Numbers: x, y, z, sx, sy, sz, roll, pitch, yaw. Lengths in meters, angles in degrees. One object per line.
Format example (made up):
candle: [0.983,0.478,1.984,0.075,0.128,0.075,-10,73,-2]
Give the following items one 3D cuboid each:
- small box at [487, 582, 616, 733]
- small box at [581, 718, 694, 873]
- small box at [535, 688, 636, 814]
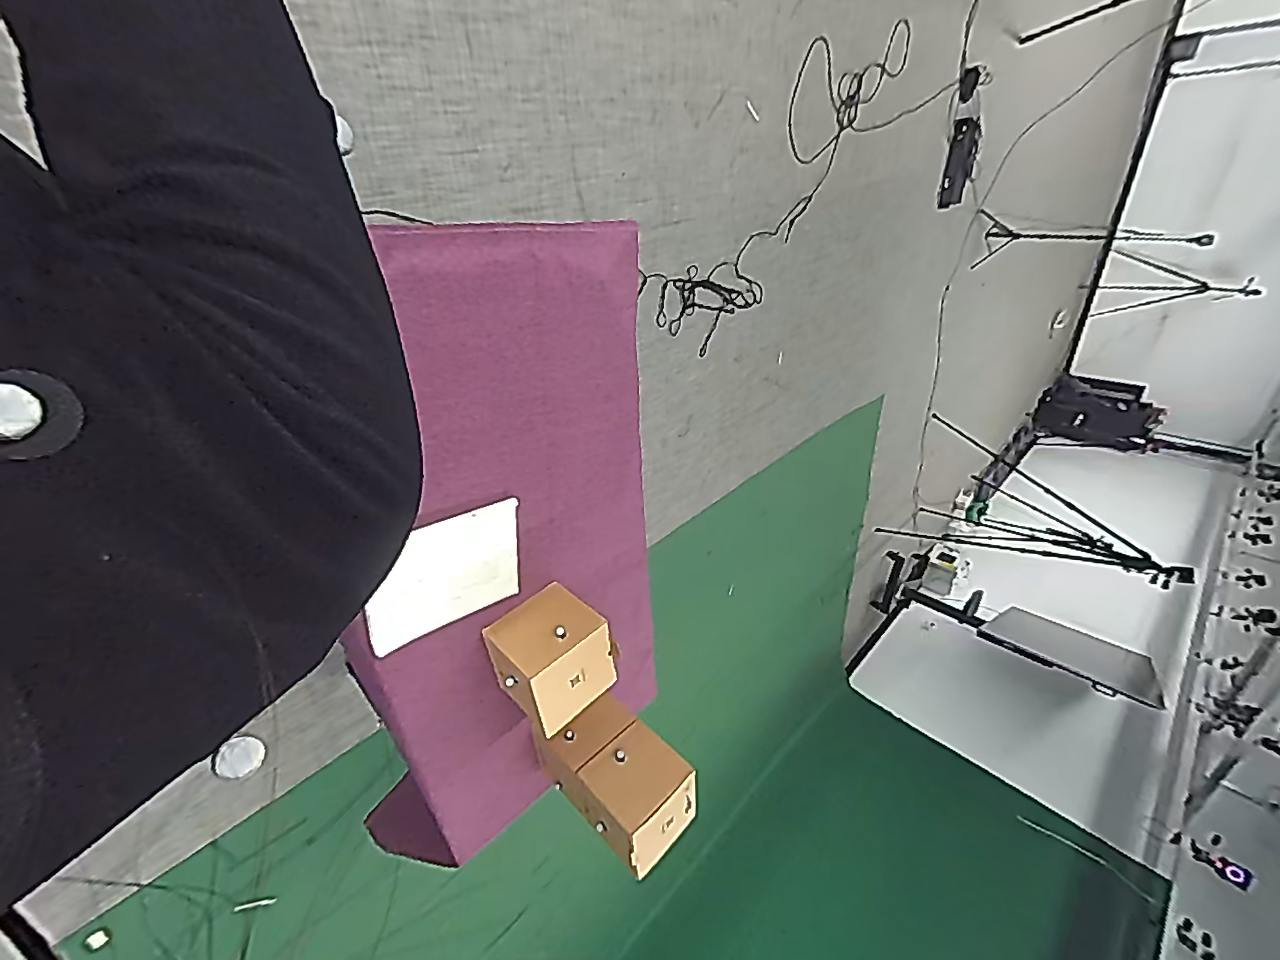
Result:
small box: [-0.173,0.331,1.037,0.179,0.176,0.168,-31,129,-35]
small box: [-0.008,0.637,1.110,0.179,0.176,0.168,-27,128,-35]
small box: [-0.122,0.590,1.219,0.179,0.176,0.168,-28,128,-36]
